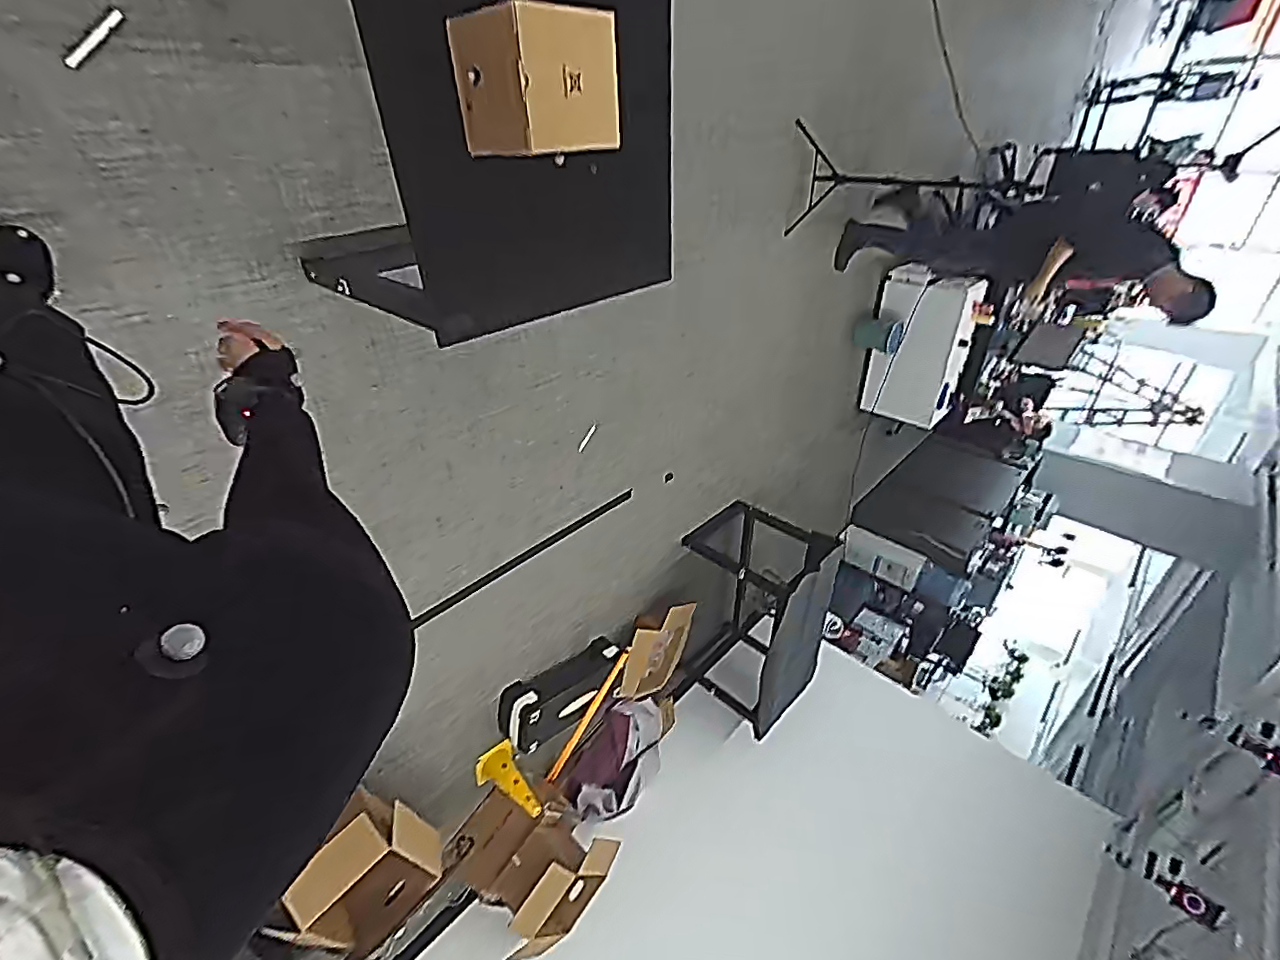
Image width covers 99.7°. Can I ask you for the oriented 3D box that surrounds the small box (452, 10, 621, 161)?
[{"bbox_3d":[-0.150,-0.582,0.813,0.179,0.176,0.168,-31,132,-36],"label":"small box"}]
